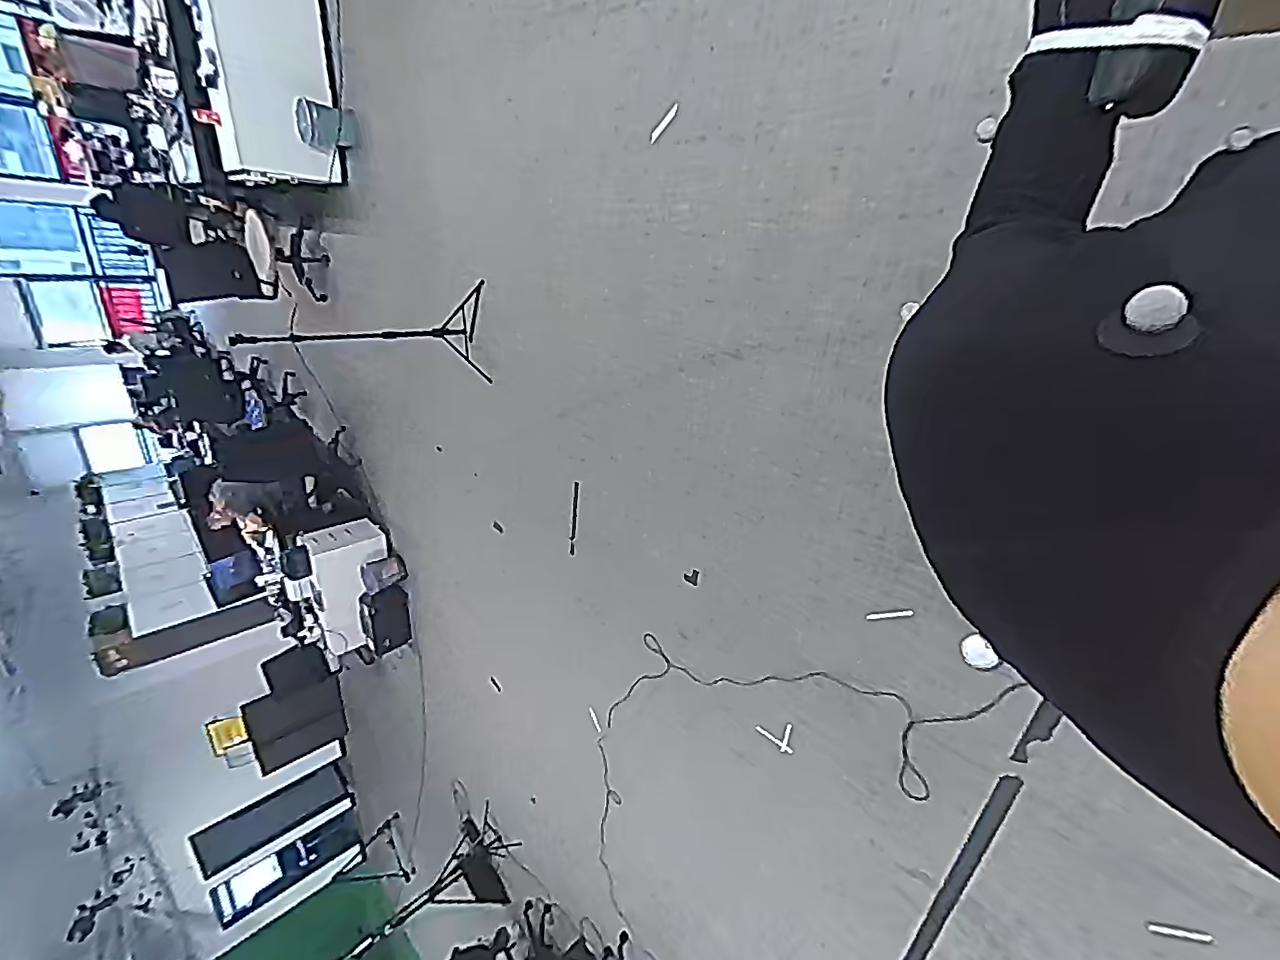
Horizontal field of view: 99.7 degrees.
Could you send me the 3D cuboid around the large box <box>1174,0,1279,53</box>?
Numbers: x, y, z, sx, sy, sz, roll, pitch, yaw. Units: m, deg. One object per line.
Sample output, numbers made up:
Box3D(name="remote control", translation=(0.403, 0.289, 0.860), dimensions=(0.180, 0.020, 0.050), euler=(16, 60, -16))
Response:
Box3D(name="large box", translation=(0.554, -0.429, 0.231), dimensions=(0.408, 0.320, 0.320), euler=(23, 127, 36))
